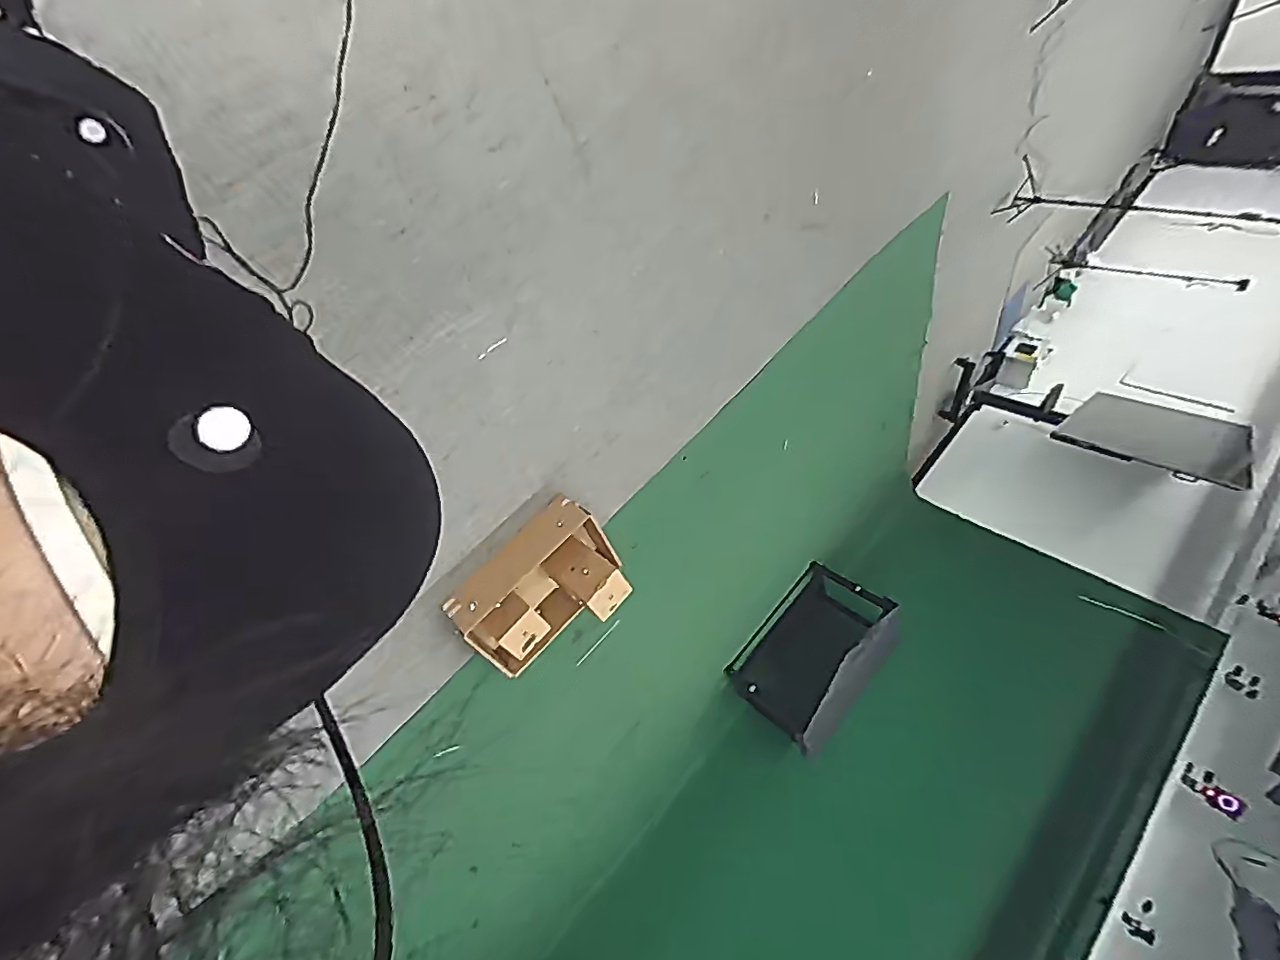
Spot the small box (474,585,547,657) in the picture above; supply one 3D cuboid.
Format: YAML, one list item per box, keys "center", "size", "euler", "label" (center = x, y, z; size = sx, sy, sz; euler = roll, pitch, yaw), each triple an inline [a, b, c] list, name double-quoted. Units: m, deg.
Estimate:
- center: [-0.489, 0.526, 2.039]
  size: [0.168, 0.176, 0.179]
  euler: [-46, 139, -17]
  label: "small box"

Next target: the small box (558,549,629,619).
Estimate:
- center: [-0.177, 0.382, 2.021]
  size: [0.168, 0.176, 0.179]
  euler: [-46, 140, -16]
  label: "small box"
